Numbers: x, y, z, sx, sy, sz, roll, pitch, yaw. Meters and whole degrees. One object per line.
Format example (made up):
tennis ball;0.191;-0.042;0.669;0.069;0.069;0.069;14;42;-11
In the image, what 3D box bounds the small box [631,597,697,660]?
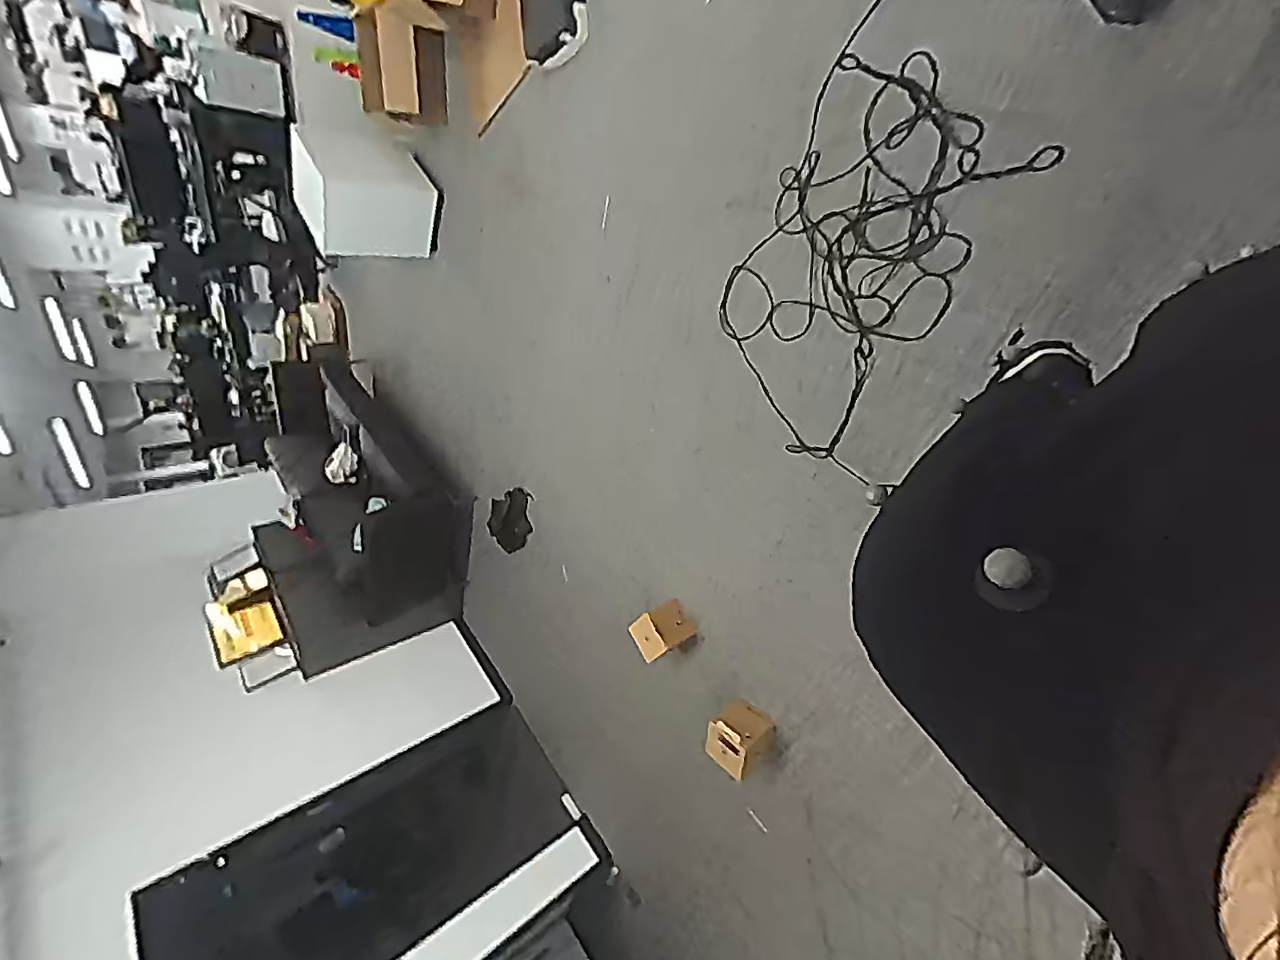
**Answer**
small box;0.099;0.602;2.194;0.168;0.176;0.179;58;139;20
